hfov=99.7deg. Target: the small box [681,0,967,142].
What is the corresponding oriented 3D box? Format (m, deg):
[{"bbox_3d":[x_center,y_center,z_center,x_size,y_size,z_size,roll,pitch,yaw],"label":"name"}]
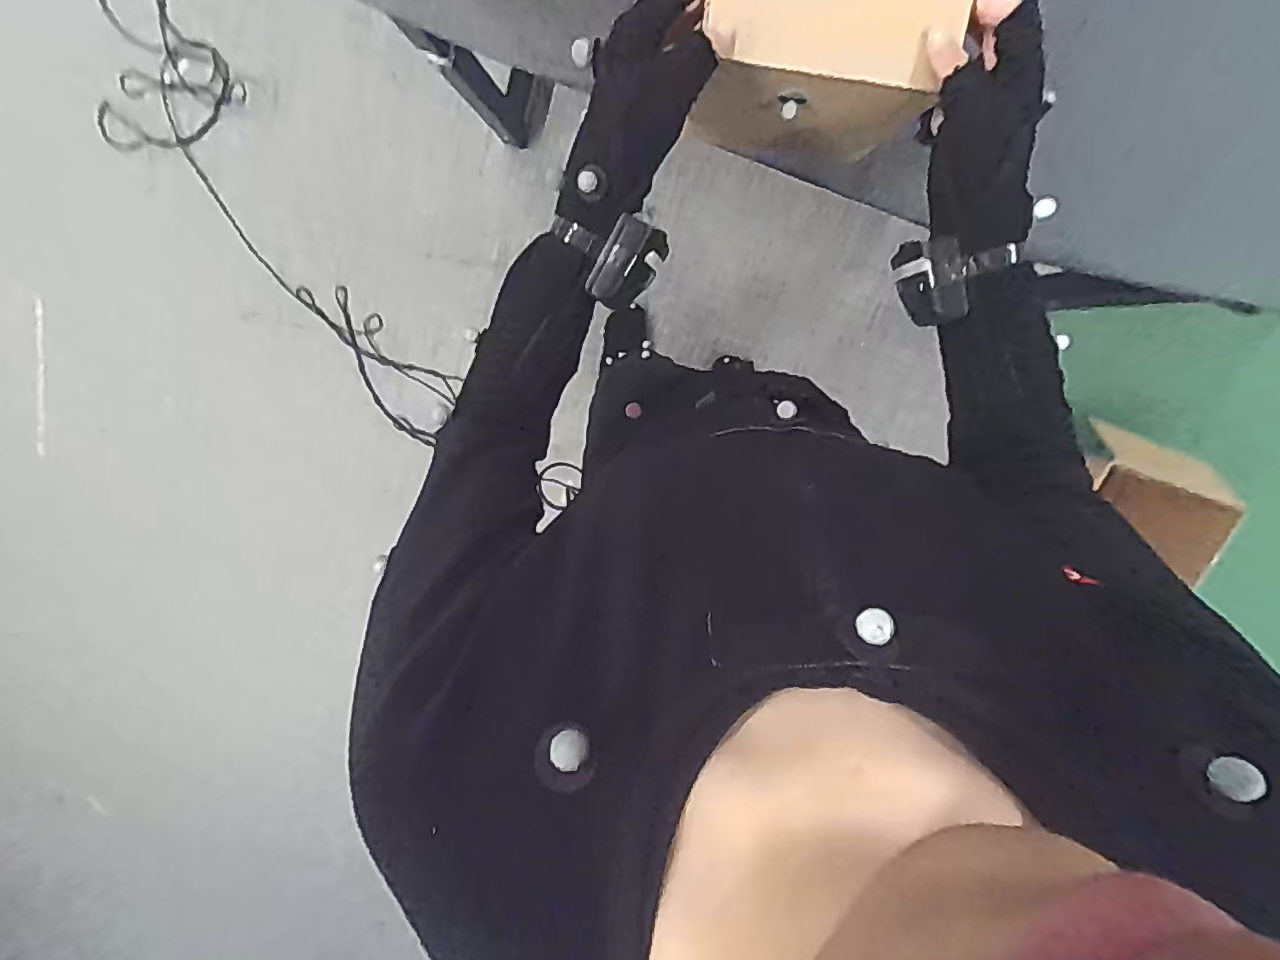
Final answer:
[{"bbox_3d":[0.130,-0.380,0.411,0.179,0.176,0.168,6,107,-3],"label":"small box"}]
